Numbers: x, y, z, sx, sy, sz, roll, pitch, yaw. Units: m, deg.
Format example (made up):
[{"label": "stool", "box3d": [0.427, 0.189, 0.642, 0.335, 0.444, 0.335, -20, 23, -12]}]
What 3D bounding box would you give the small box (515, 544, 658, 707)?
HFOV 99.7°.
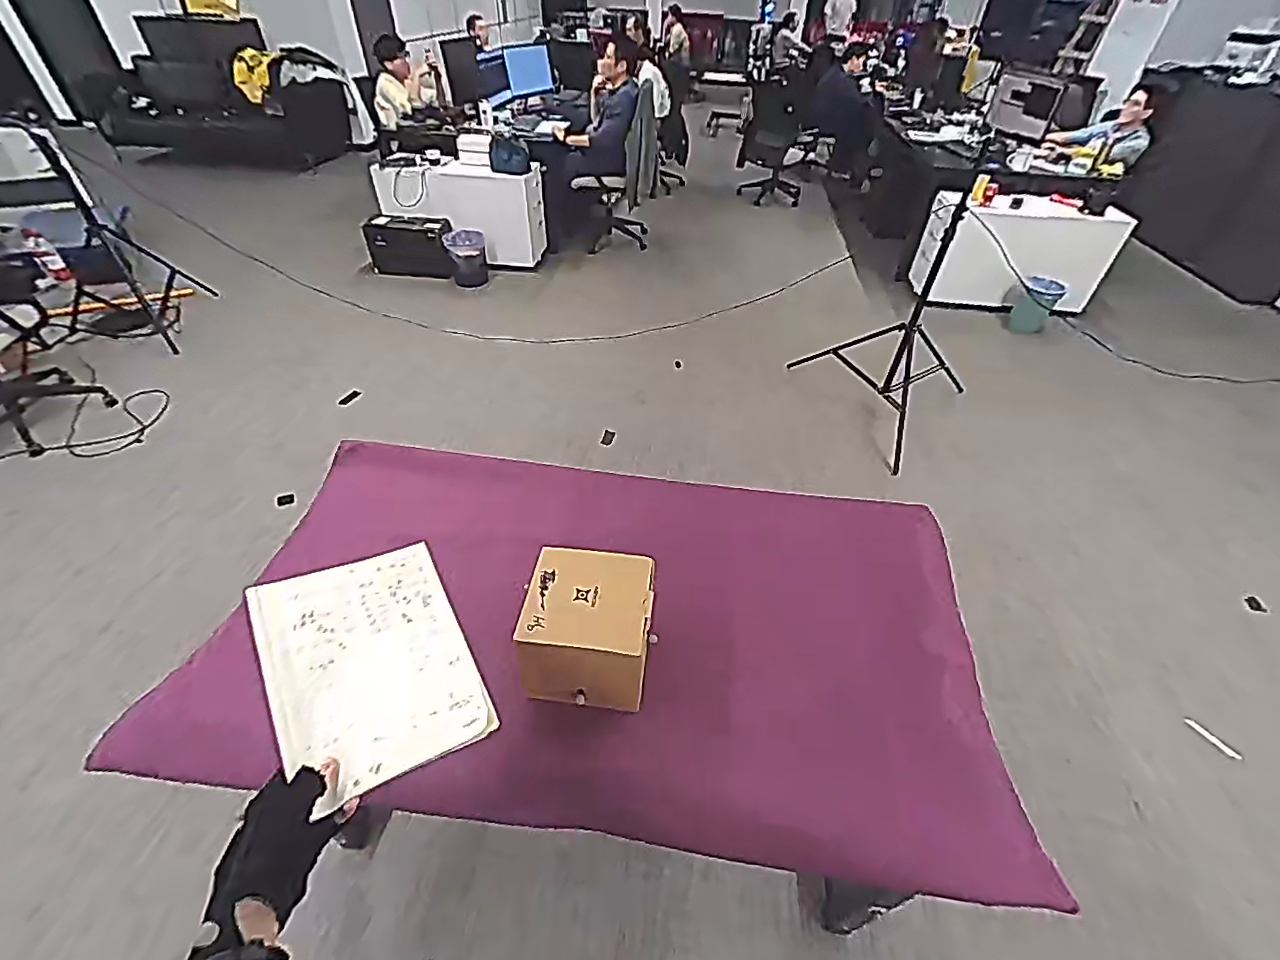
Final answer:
[{"label": "small box", "box3d": [-0.073, 0.222, 0.817, 0.179, 0.176, 0.168, 6, 42, 4]}]
